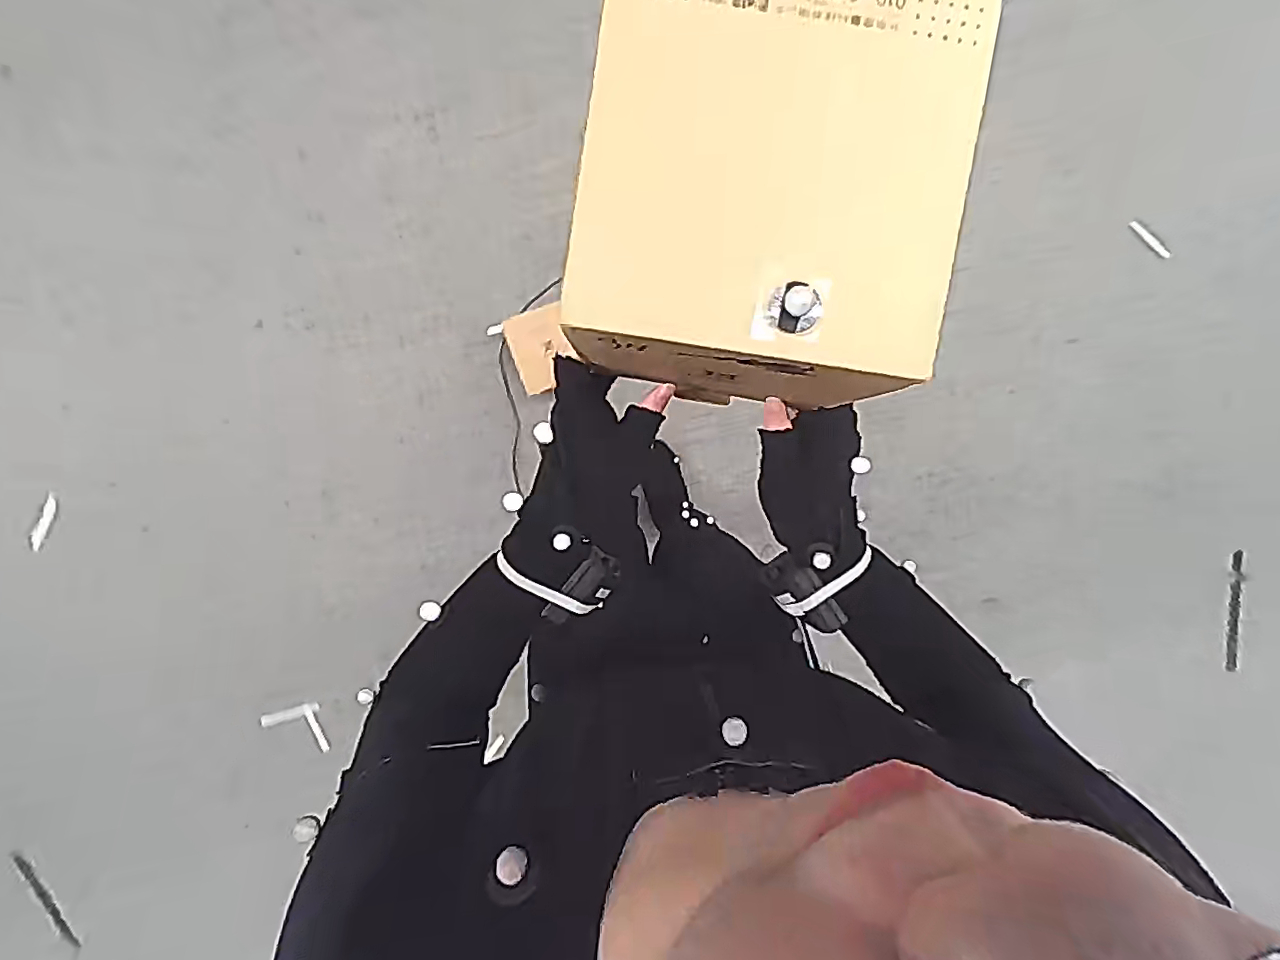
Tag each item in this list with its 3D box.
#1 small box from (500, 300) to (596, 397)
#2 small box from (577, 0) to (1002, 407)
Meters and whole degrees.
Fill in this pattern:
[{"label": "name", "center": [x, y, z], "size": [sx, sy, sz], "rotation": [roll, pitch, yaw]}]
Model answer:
[{"label": "small box", "center": [-0.208, -0.309, 1.277], "size": [0.168, 0.176, 0.179], "rotation": [-19, 102, 1]}, {"label": "small box", "center": [0.065, -0.141, 0.308], "size": [0.168, 0.179, 0.176], "rotation": [9, 95, -1]}]
